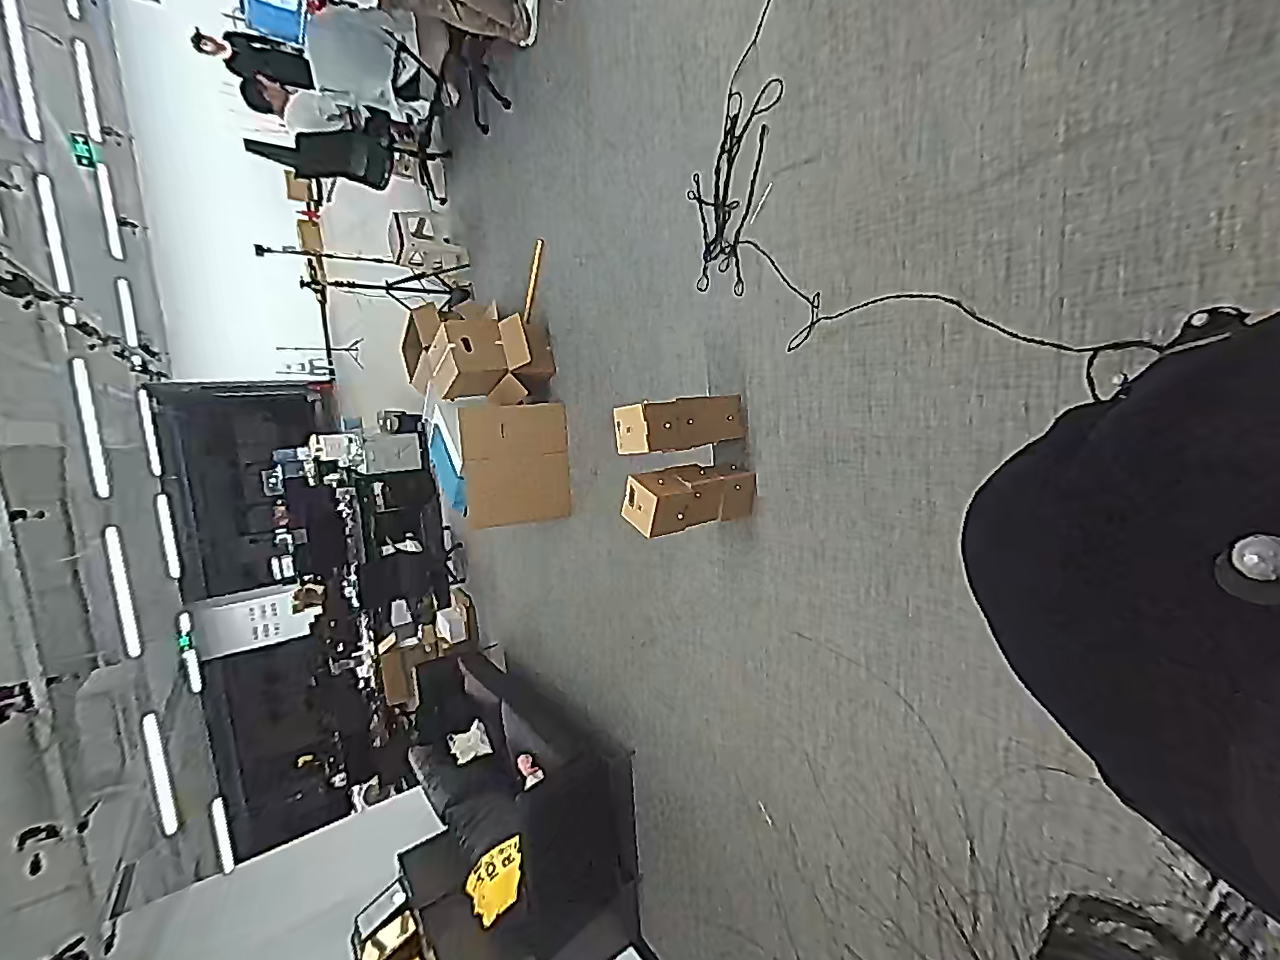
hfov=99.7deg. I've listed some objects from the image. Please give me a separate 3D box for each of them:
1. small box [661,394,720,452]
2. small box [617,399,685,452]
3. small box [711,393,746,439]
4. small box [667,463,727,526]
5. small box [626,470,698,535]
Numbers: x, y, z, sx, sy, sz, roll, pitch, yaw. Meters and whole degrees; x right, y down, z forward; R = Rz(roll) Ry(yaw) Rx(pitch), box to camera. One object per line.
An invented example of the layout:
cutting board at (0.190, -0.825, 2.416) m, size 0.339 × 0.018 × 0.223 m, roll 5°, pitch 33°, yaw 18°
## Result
small box at (0.173, -0.211, 1.991) m, size 0.168 × 0.176 × 0.179 m, roll -13°, pitch 88°, yaw 54°
small box at (0.045, -0.191, 1.892) m, size 0.179 × 0.176 × 0.168 m, roll 0°, pitch 99°, yaw 53°
small box at (0.296, -0.241, 2.094) m, size 0.179 × 0.176 × 0.168 m, roll -5°, pitch 93°, yaw 55°
small box at (0.204, 0.048, 2.015) m, size 0.168 × 0.176 × 0.179 m, roll 33°, pitch 123°, yaw 48°
small box at (0.076, 0.073, 1.916) m, size 0.179 × 0.176 × 0.168 m, roll 38°, pitch 126°, yaw 44°
